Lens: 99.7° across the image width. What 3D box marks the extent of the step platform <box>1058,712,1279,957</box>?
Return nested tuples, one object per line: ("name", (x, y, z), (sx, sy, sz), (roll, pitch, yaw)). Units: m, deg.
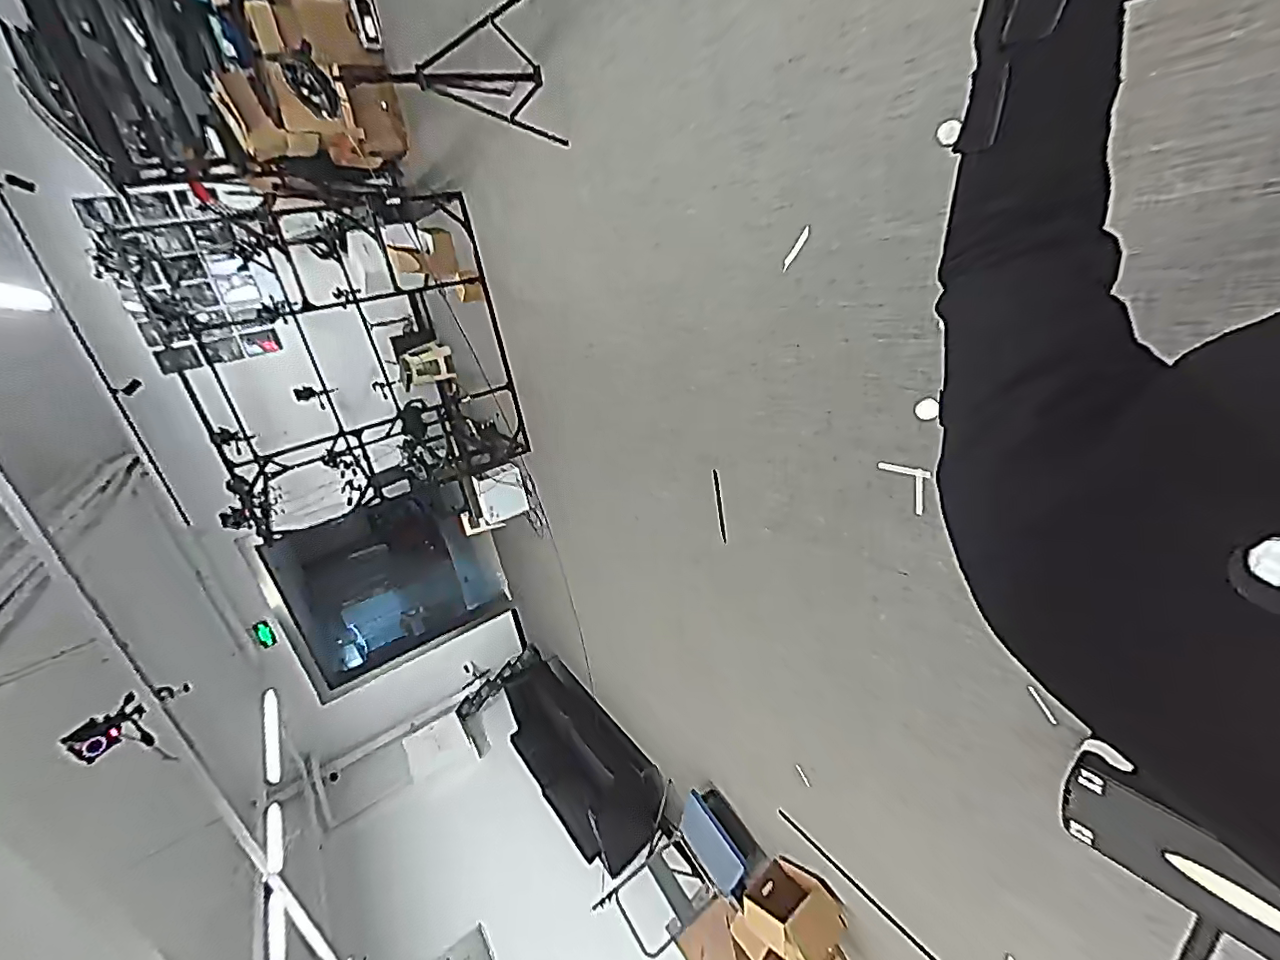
("step platform", (1.387, 0.862, 1.238), (0.684, 0.204, 0.286), (25, 131, 55))
